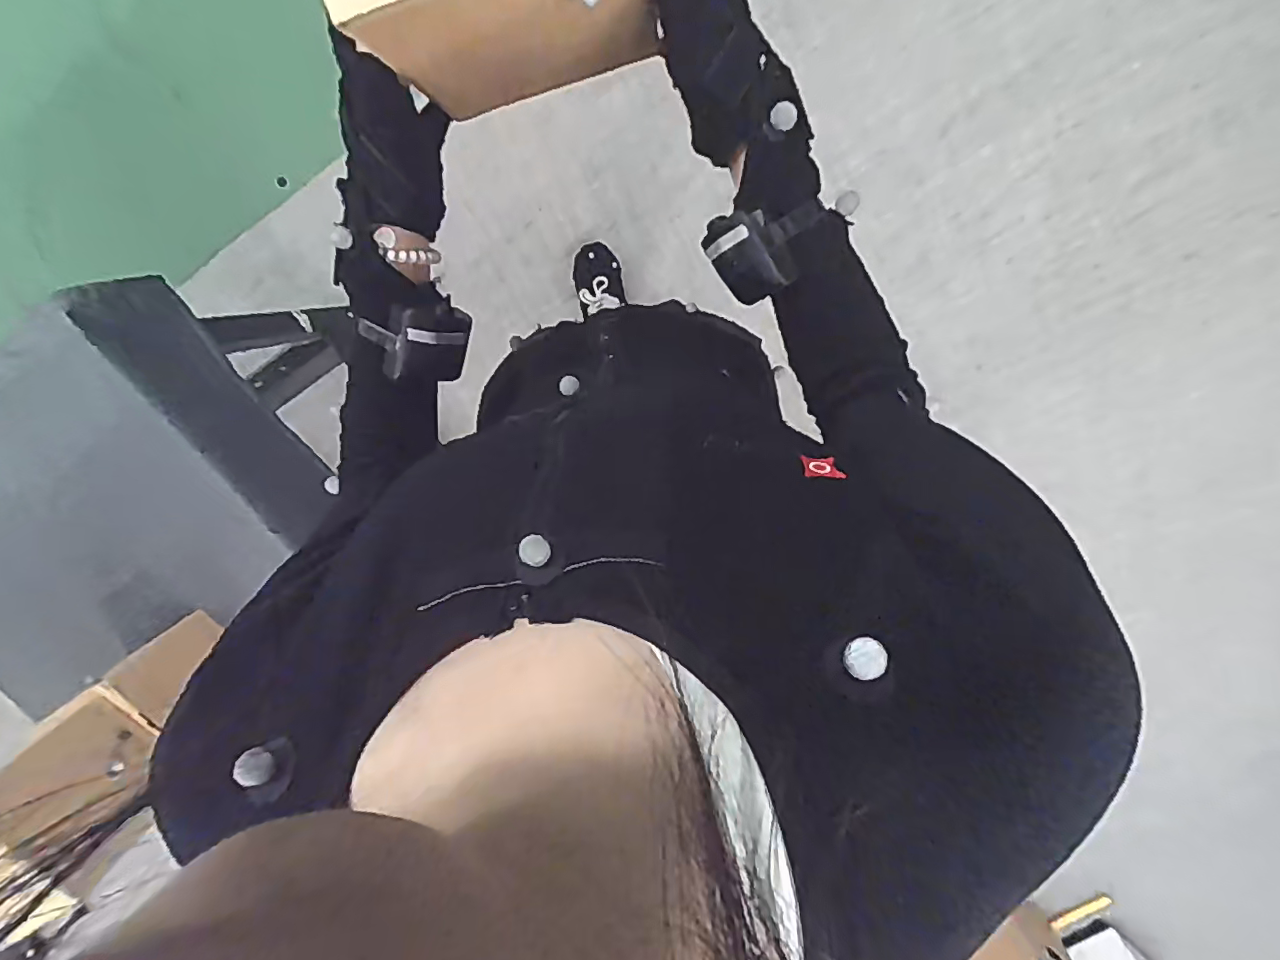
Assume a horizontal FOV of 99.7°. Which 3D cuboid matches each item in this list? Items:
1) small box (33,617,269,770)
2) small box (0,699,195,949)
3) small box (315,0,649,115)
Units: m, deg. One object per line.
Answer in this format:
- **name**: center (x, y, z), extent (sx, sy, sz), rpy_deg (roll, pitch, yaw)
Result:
- **small box**: center (-0.710, 0.339, 0.814), extent (0.179, 0.176, 0.168), rpy_deg (-31, 107, 13)
- **small box**: center (-0.719, 0.414, 0.667), extent (0.179, 0.176, 0.168), rpy_deg (-33, 107, 12)
- **small box**: center (-0.099, -0.358, 0.327), extent (0.179, 0.176, 0.168), rpy_deg (-14, 107, 7)
